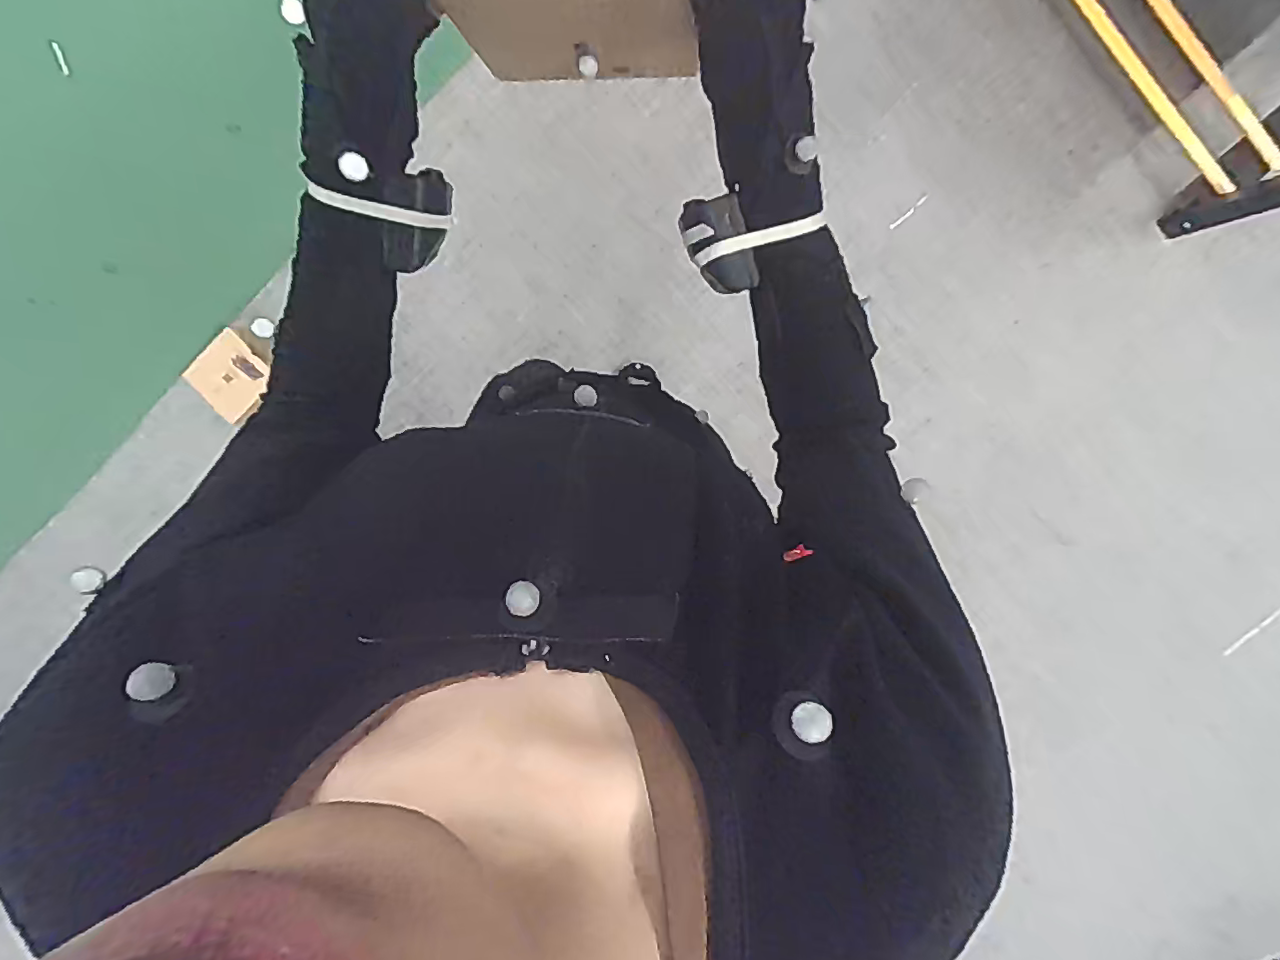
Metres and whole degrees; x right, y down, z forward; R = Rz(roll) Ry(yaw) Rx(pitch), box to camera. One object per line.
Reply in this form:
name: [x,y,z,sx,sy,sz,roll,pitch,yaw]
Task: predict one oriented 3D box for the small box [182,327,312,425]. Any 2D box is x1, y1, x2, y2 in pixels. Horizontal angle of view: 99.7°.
small box: [-0.972,-0.260,1.363,0.179,0.176,0.168,-41,96,7]
